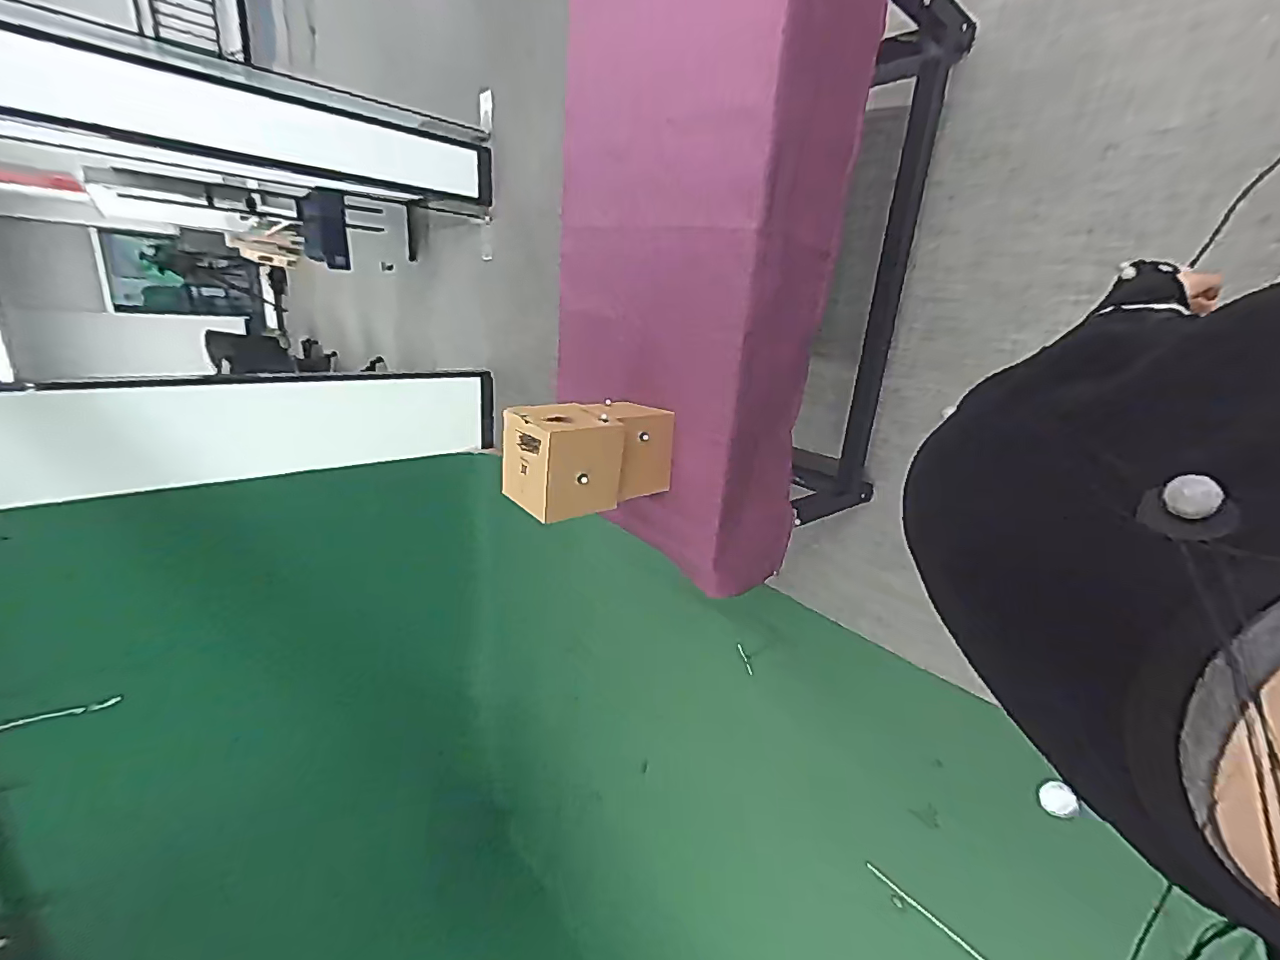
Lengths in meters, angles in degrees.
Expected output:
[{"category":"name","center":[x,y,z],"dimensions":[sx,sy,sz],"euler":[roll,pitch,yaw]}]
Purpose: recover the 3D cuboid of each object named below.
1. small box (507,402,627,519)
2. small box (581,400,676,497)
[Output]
[{"category":"small box","center":[-0.142,-0.048,1.055],"dimensions":[0.168,0.176,0.179],"euler":[28,120,43]},{"category":"small box","center":[-0.038,-0.077,1.181],"dimensions":[0.168,0.176,0.179],"euler":[21,115,46]}]
